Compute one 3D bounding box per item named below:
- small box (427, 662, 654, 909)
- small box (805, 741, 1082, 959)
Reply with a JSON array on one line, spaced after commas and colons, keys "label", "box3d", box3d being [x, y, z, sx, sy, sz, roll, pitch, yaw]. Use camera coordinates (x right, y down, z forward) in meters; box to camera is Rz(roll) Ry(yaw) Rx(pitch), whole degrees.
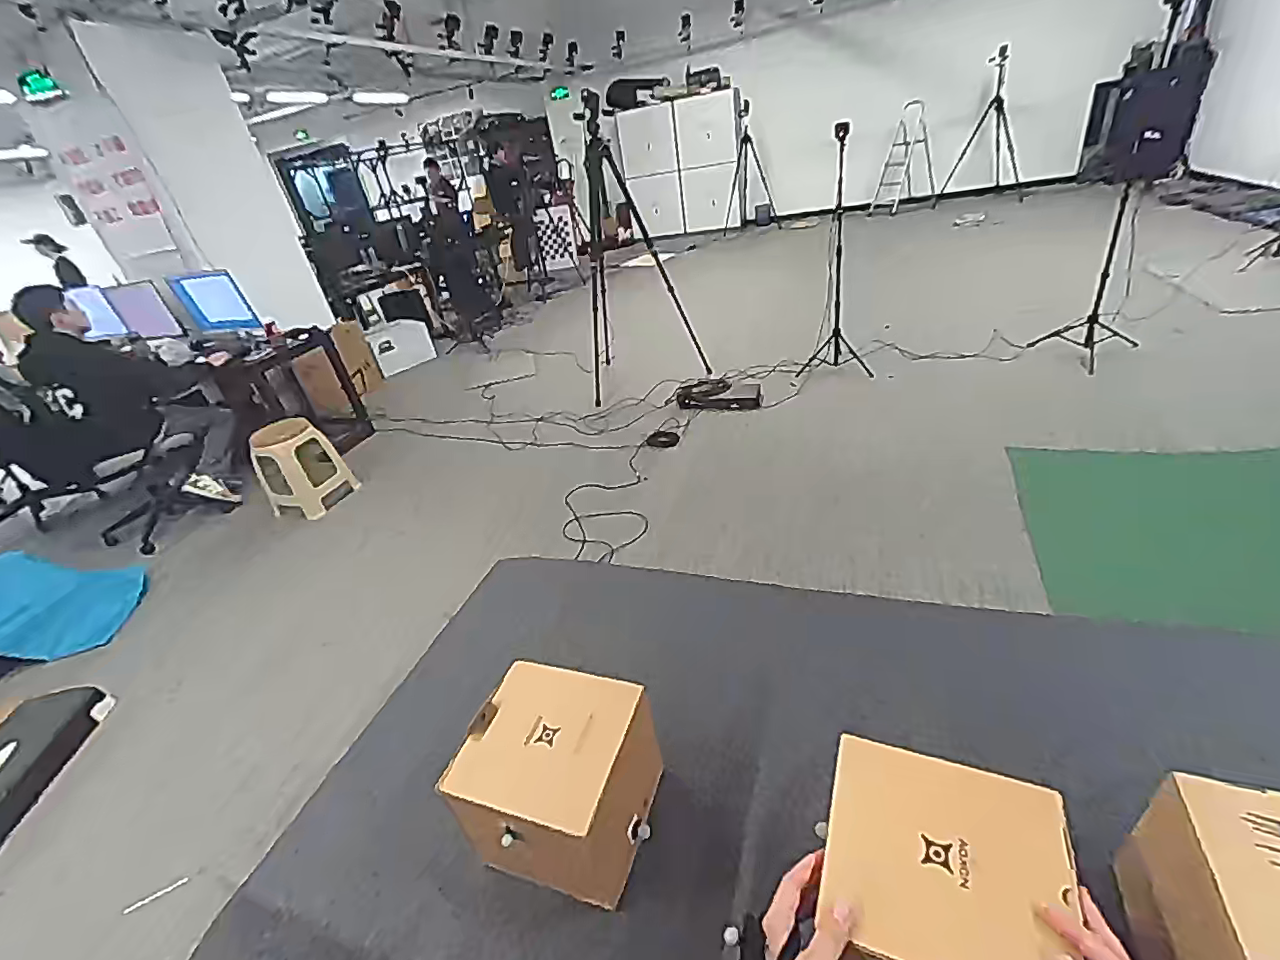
[{"label": "small box", "box3d": [-0.097, 0.339, 0.612, 0.179, 0.176, 0.168, 4, 34, 21]}, {"label": "small box", "box3d": [0.245, 0.367, 0.463, 0.179, 0.176, 0.168, 6, 35, 25]}]
